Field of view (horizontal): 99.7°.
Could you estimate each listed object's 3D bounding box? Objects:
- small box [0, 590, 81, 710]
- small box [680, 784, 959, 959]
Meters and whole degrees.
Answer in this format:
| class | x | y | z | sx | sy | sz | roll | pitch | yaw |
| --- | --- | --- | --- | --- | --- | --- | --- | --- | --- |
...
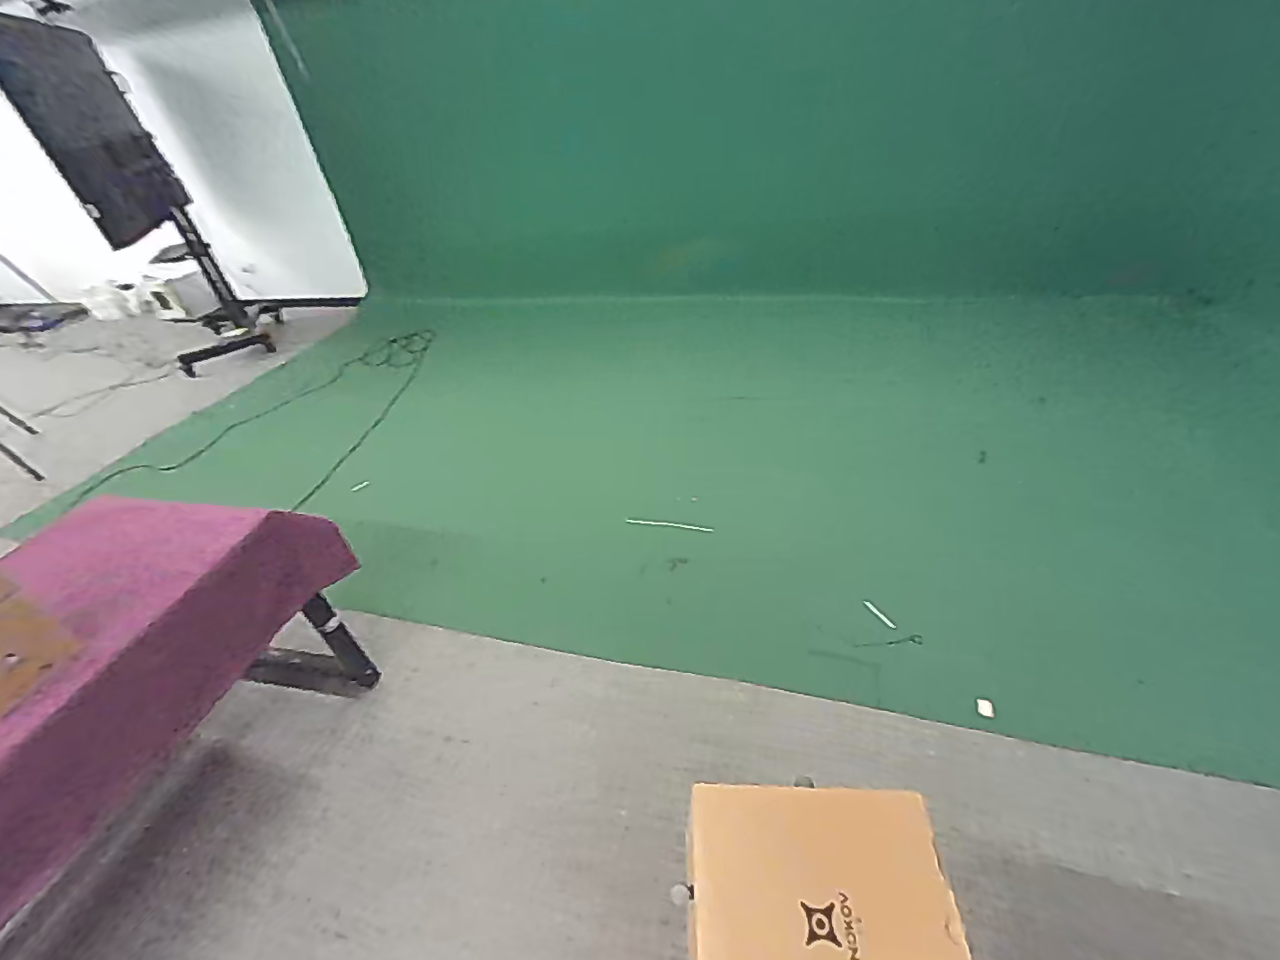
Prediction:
| class | x | y | z | sx | sy | sz | roll | pitch | yaw |
| --- | --- | --- | --- | --- | --- | --- | --- | --- | --- |
| small box | -1.205 | 0.308 | 0.983 | 0.179 | 0.176 | 0.168 | 4 | 39 | 13 |
| small box | 0.120 | 0.350 | 0.416 | 0.179 | 0.176 | 0.168 | 0 | 46 | 1 |
